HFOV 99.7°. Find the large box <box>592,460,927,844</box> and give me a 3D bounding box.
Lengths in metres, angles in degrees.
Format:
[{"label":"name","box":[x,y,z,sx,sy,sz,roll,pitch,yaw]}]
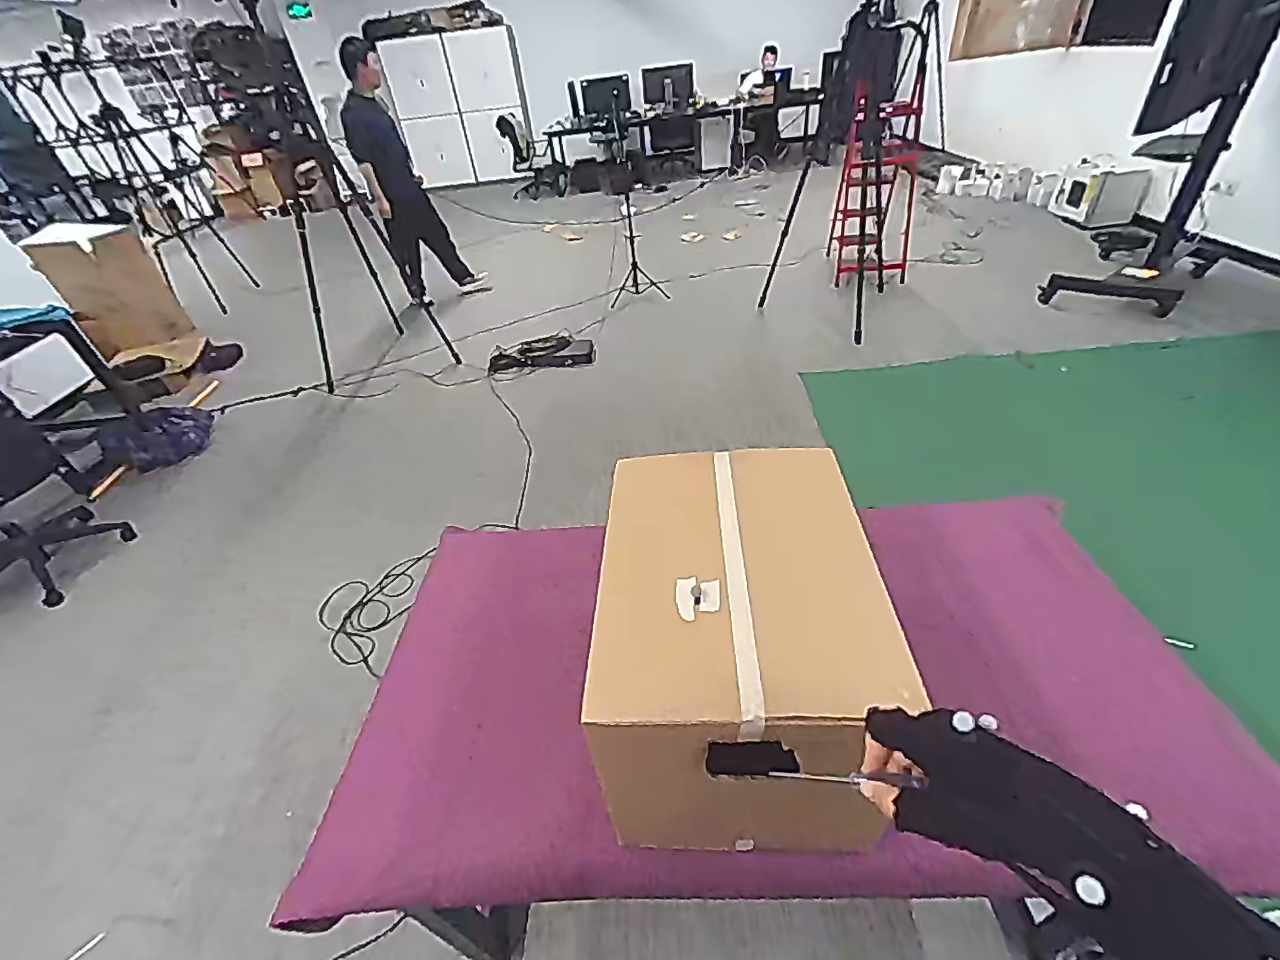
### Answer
[{"label":"large box","box":[0.124,0.214,0.739,0.320,0.320,0.408,-3,39,6]}]
